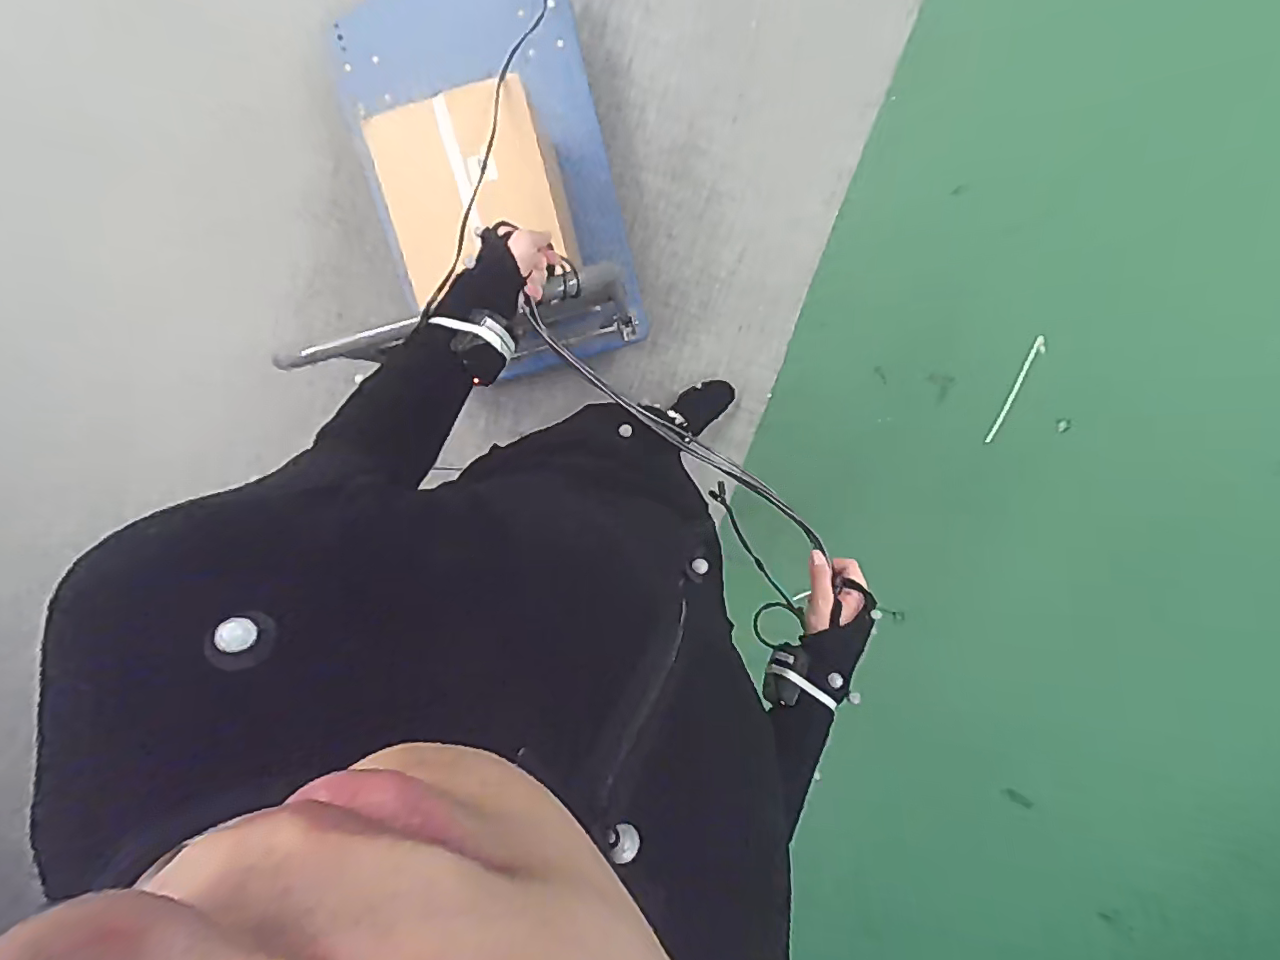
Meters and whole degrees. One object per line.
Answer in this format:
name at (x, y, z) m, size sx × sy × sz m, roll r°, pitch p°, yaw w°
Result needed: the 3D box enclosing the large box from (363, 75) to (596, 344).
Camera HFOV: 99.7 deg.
large box at (-0.307, -0.535, 1.164) m, size 0.320 × 0.320 × 0.408 m, roll -14°, pitch 101°, yaw 4°
